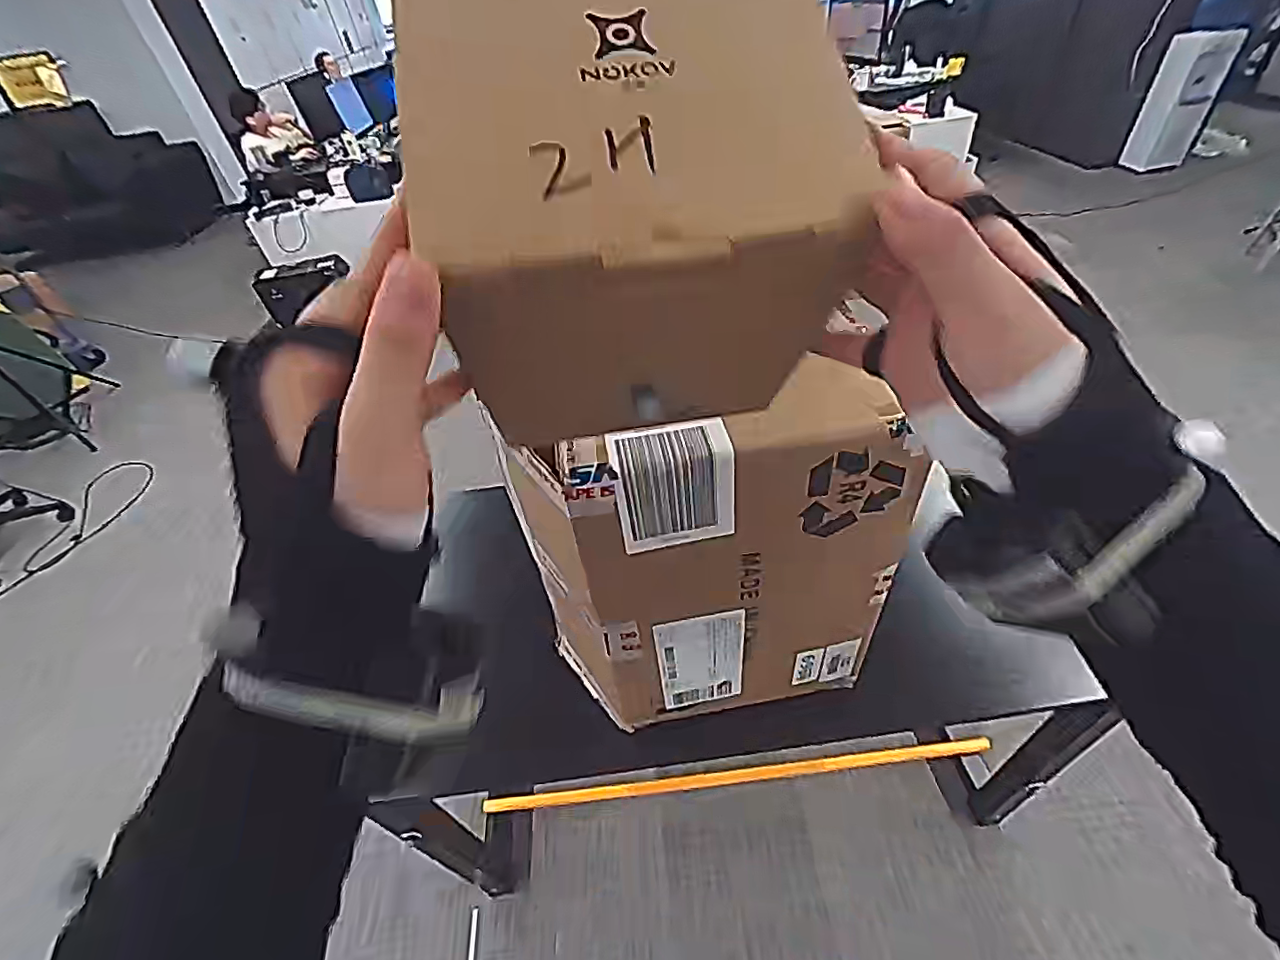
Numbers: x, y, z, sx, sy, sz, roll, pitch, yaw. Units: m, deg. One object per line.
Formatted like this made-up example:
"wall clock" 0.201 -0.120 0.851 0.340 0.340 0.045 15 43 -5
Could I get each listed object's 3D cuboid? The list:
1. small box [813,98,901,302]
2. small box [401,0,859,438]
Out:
"small box" 0.161 -0.311 0.615 0.168 0.176 0.179 -8 44 -3
"small box" -0.015 -0.141 0.293 0.168 0.176 0.179 -9 73 -4
